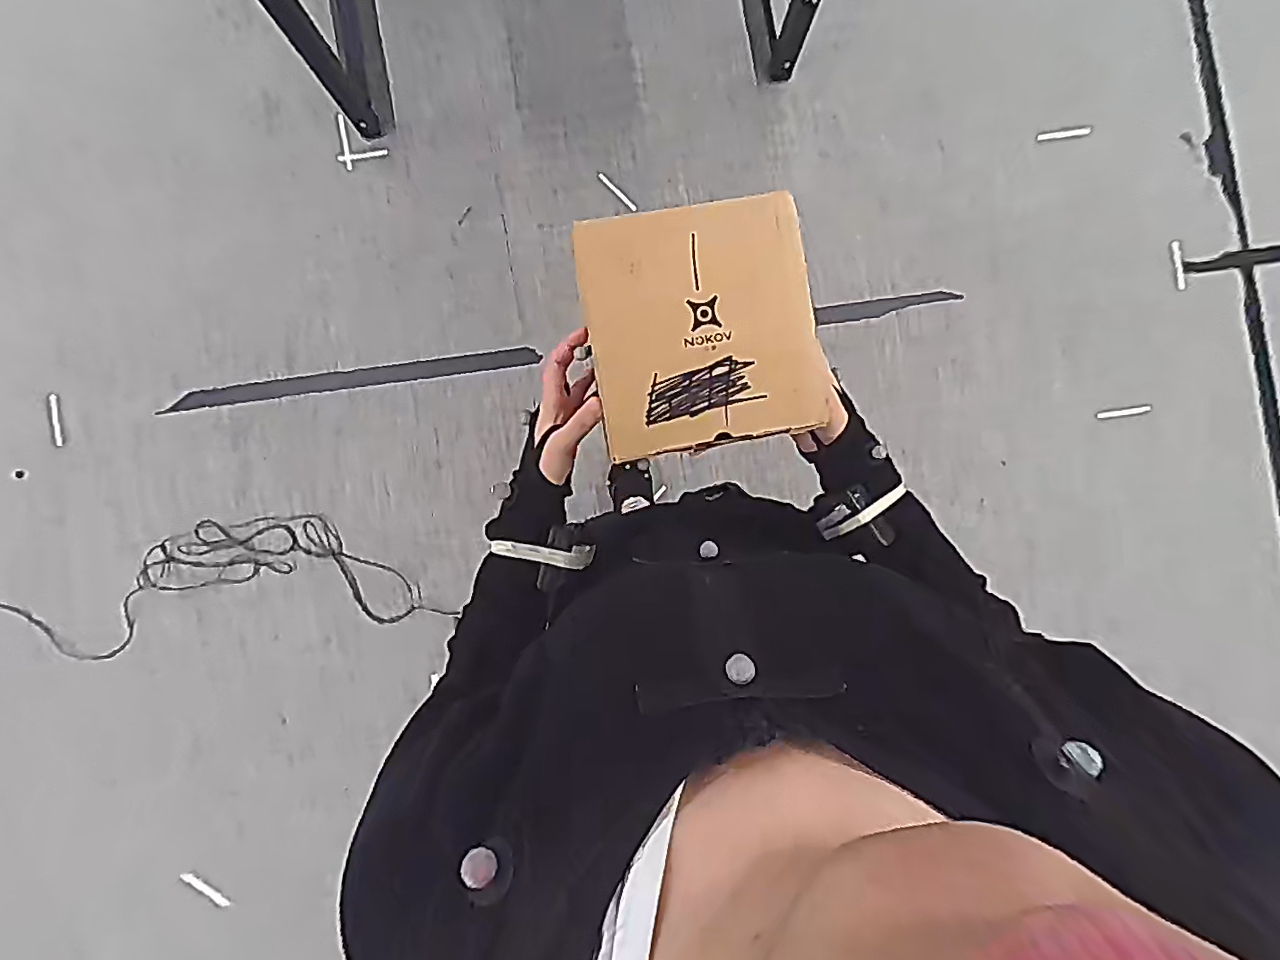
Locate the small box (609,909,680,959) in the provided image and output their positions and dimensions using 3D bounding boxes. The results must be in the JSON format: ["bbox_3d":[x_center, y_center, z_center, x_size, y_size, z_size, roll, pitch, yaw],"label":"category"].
[{"bbox_3d":[0.017,1.274,1.410,0.179,0.176,0.168,-9,90,-3],"label":"small box"}]

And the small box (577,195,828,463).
[{"bbox_3d":[0.042,-0.114,0.473,0.168,0.176,0.179,-10,93,-4],"label":"small box"}]
